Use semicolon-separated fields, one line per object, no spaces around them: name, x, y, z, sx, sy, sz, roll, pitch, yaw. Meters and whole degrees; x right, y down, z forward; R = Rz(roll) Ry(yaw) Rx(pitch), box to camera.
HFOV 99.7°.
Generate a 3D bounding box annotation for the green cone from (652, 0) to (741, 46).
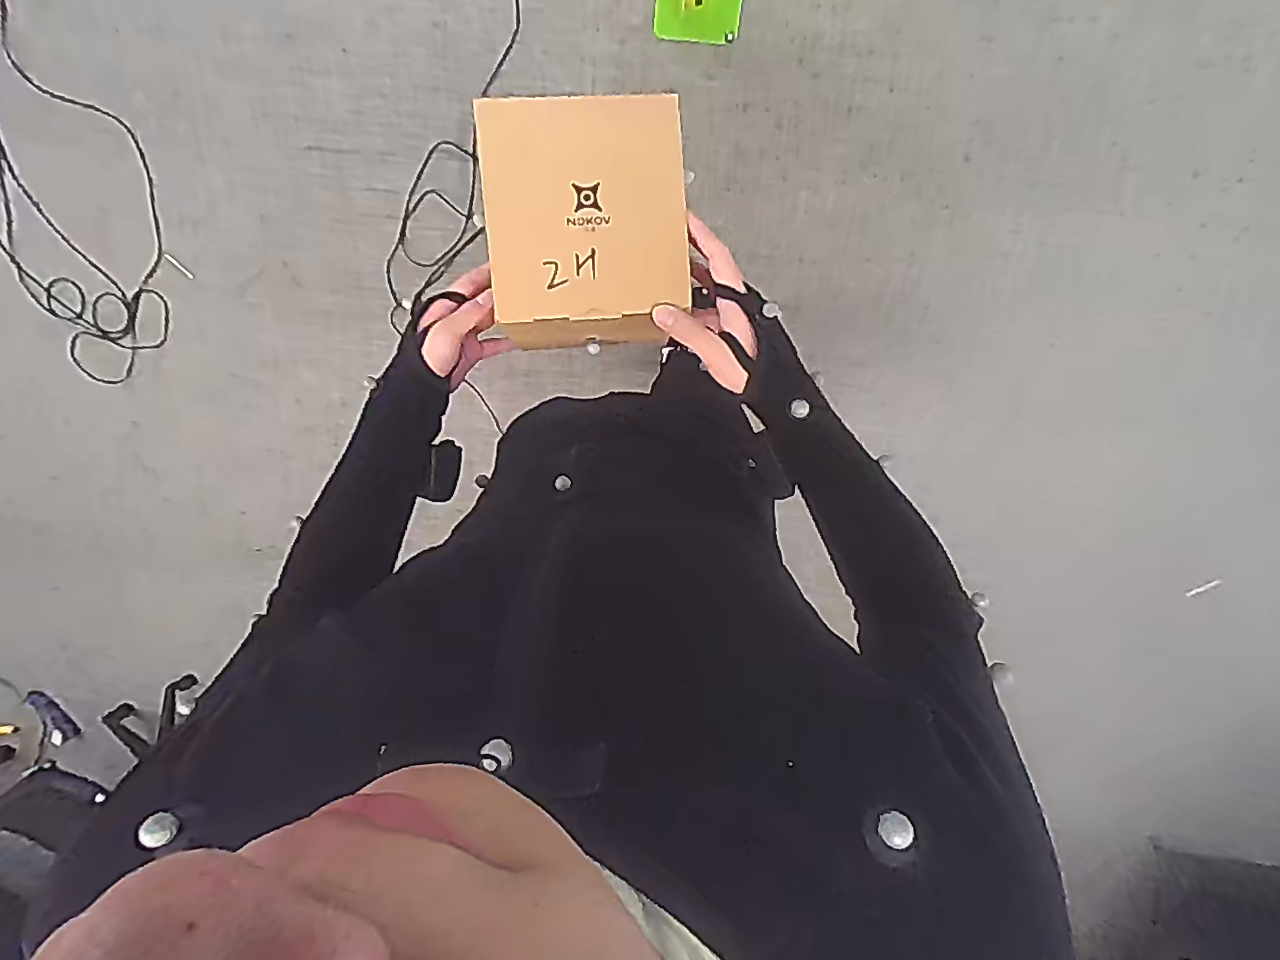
green cone;0.115;-1.065;1.071;0.202;0.368;0.200;8;108;4
